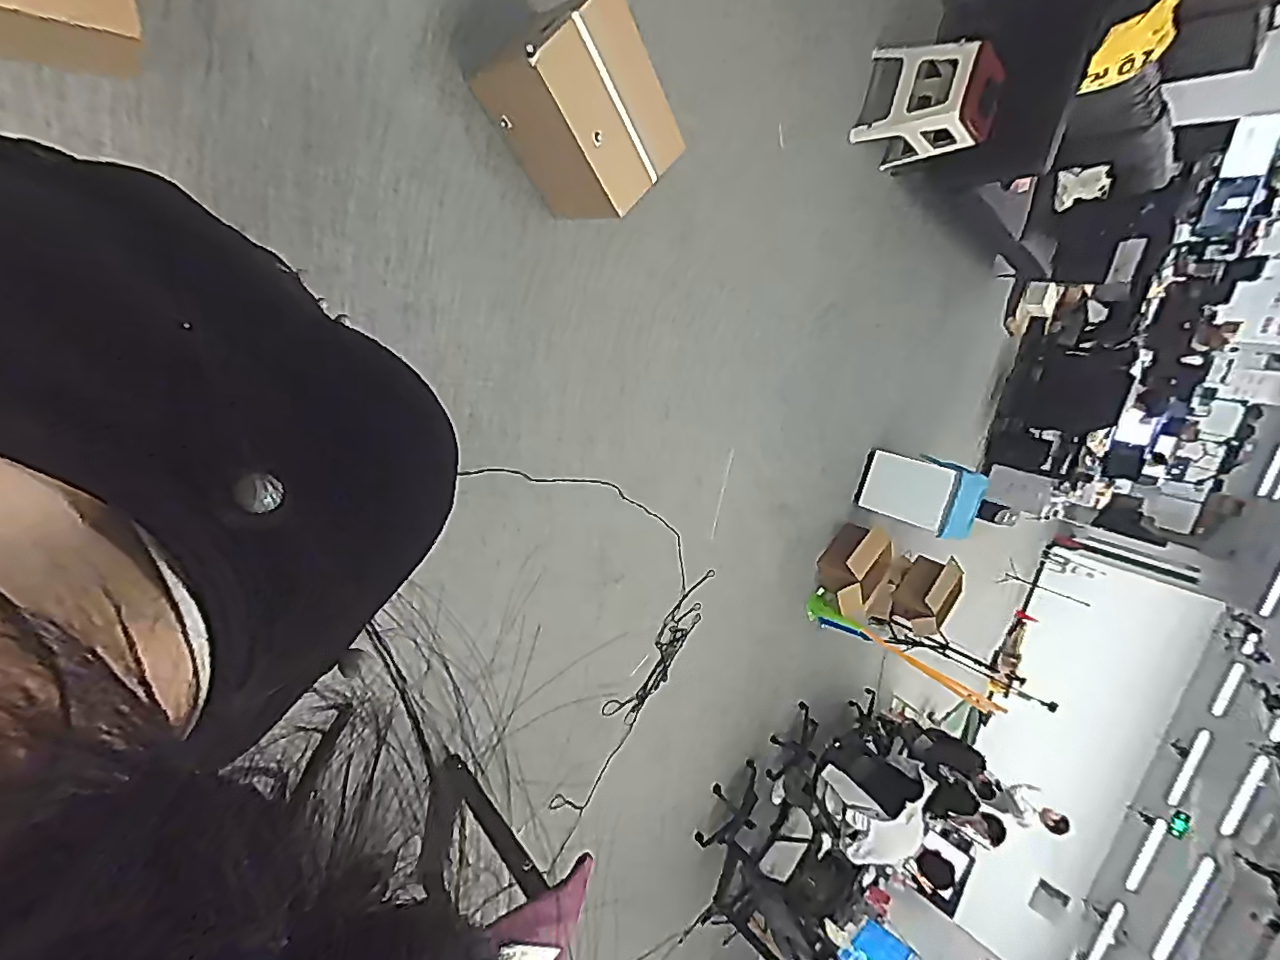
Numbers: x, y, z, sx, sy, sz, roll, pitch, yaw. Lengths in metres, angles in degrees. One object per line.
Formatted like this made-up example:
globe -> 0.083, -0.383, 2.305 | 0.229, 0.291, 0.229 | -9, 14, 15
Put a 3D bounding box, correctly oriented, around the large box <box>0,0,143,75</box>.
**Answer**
large box -> -0.972, -0.792, 0.719 | 0.408, 0.320, 0.320 | -16, 117, -38
